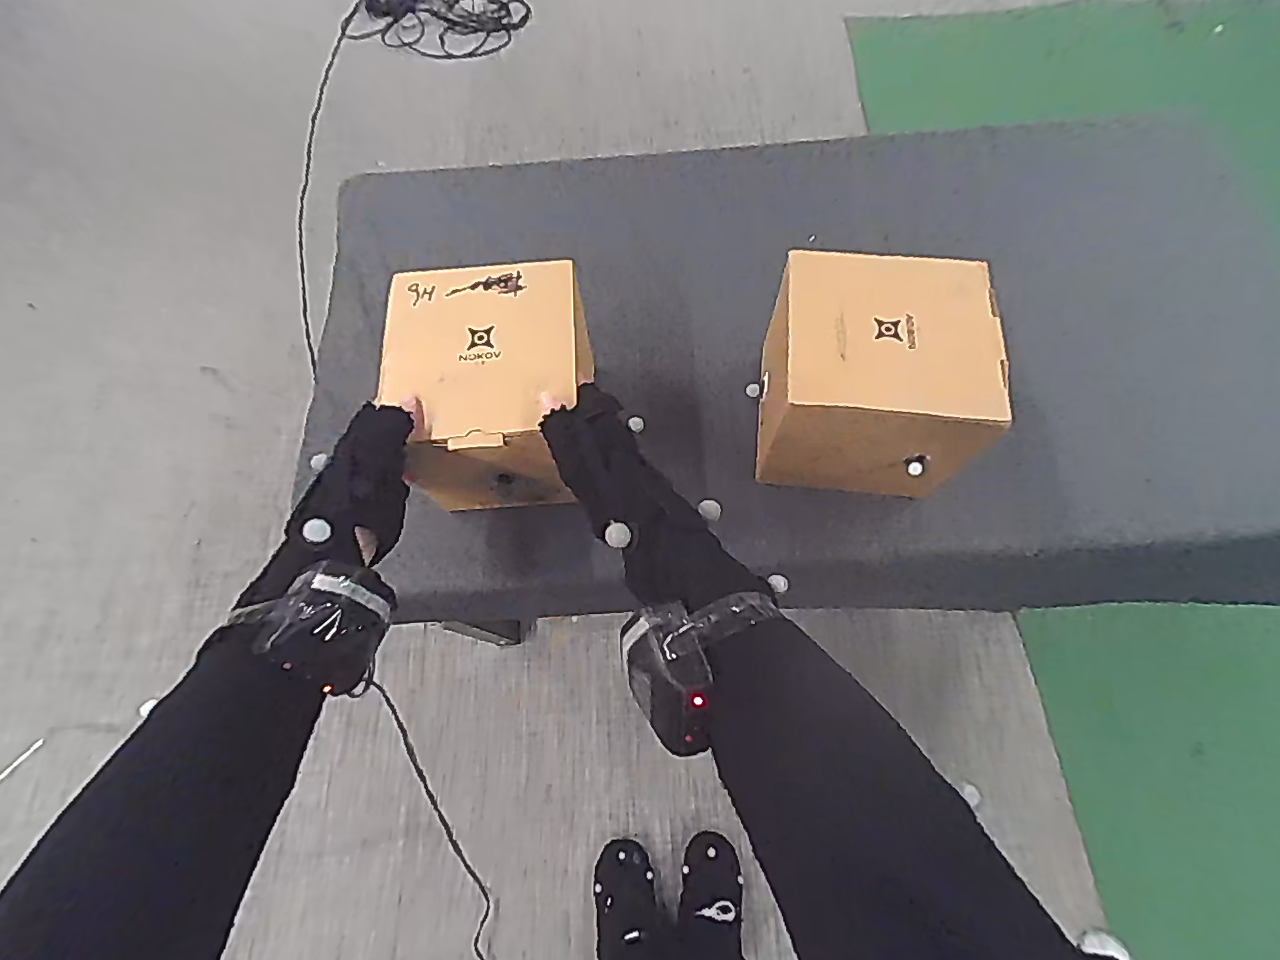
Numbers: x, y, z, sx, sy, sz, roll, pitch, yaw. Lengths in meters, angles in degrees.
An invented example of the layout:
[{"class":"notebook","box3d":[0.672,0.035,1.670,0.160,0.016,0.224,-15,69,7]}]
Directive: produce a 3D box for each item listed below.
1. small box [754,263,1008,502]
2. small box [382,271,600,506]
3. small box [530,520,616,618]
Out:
[{"class":"small box","box3d":[0.217,-0.085,0.535,0.179,0.176,0.168,5,67,5]},{"class":"small box","box3d":[-0.130,-0.077,0.537,0.168,0.176,0.179,-3,70,0]},{"class":"small box","box3d":[-0.148,0.204,1.217,0.168,0.176,0.179,-7,69,-1]}]
